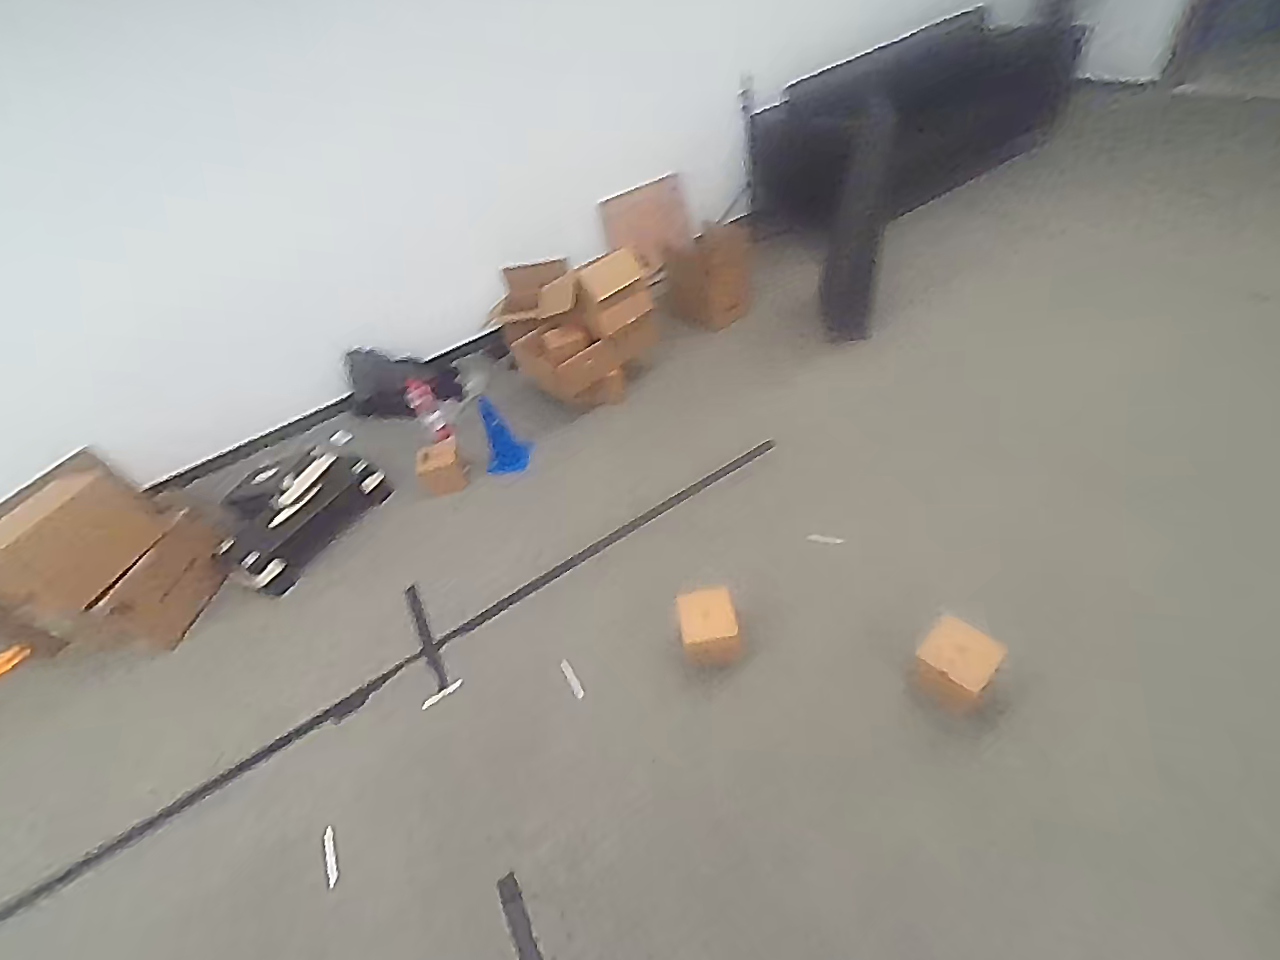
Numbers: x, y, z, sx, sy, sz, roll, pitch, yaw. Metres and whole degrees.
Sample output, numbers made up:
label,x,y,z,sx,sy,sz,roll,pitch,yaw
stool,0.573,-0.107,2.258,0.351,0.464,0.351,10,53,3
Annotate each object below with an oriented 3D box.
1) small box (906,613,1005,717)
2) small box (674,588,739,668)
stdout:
label,x,y,z,sx,sy,sz,roll,pitch,yaw
small box,0.862,0.512,1.494,0.179,0.176,0.168,-38,49,-22
small box,0.212,0.474,1.706,0.168,0.176,0.179,-12,44,3
